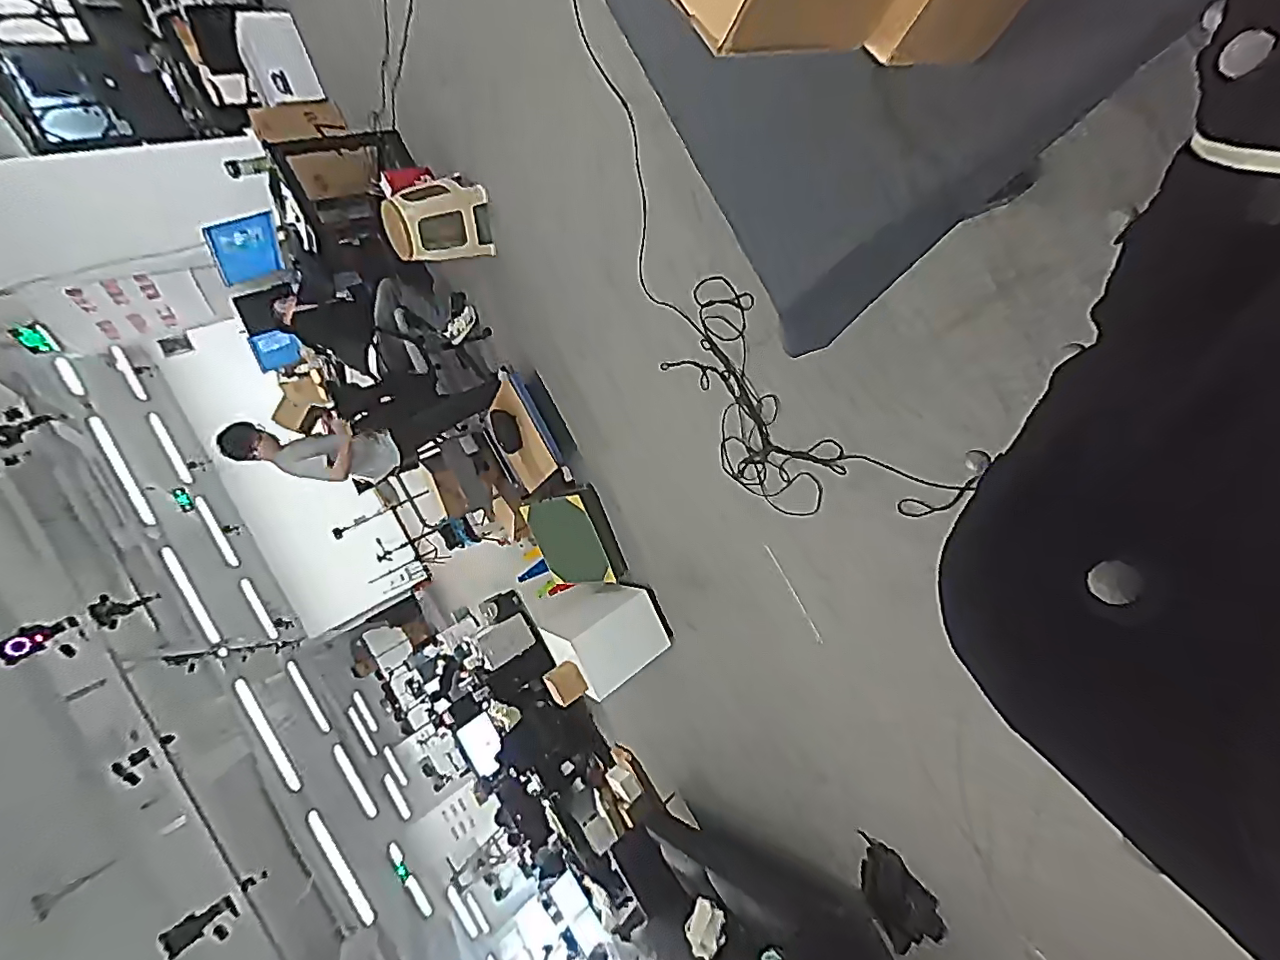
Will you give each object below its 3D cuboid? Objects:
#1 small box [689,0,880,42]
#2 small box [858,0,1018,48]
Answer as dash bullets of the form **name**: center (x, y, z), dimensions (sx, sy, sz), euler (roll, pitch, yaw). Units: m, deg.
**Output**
- **small box**: center (0.101, -0.408, 0.318), dimensions (0.168, 0.176, 0.179), euler (56, 150, 5)
- **small box**: center (0.230, -0.464, 0.400), dimensions (0.179, 0.176, 0.168), euler (55, 150, 8)
